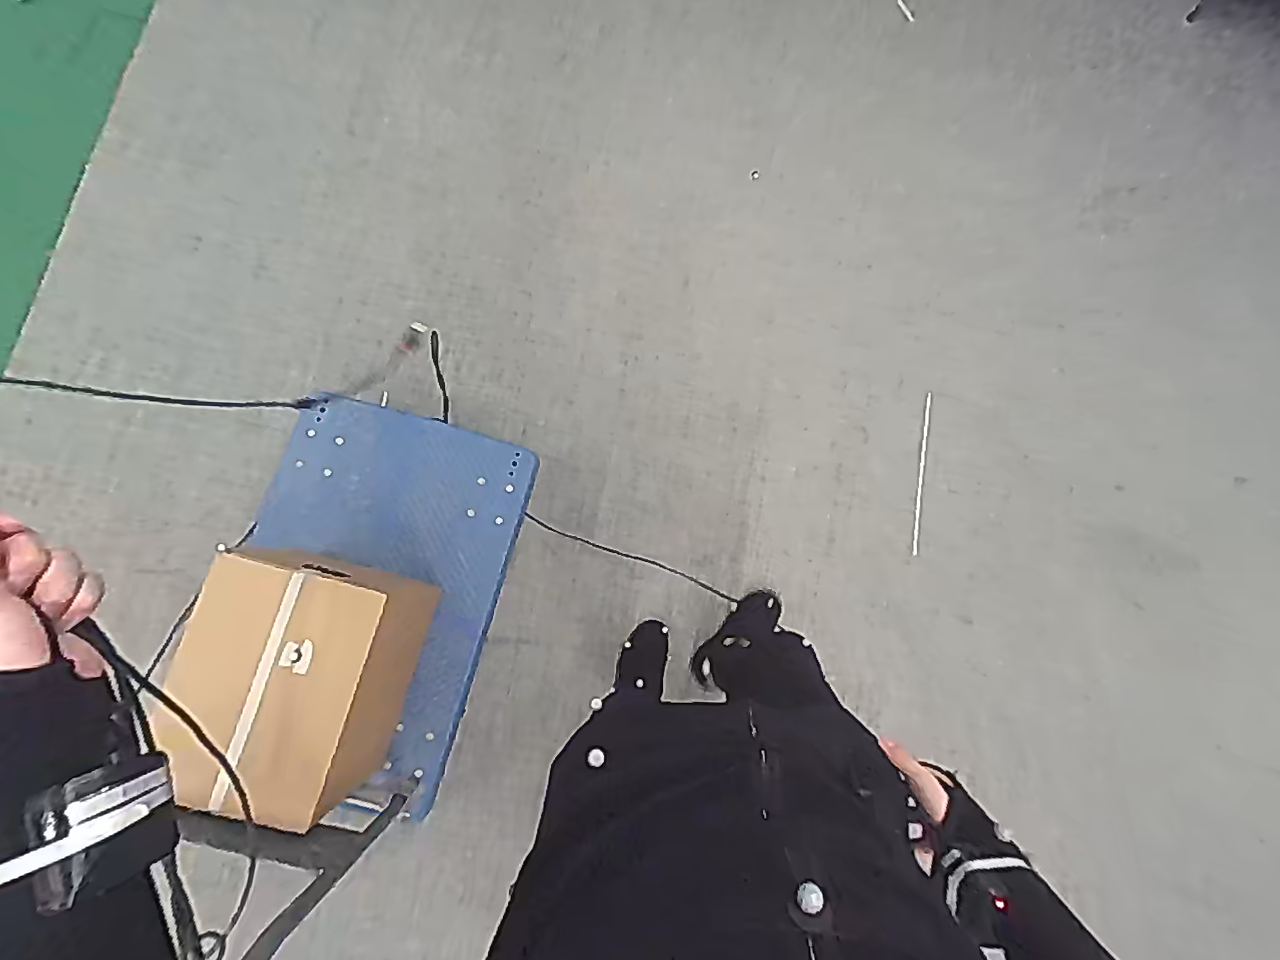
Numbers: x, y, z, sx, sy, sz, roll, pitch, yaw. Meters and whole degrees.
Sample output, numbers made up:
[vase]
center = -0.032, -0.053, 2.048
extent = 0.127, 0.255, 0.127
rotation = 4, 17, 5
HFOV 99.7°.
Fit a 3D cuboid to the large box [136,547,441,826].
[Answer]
[large box]
center = -0.644, 0.372, 1.068
extent = 0.320, 0.320, 0.408
rotation = 15, 80, 0
